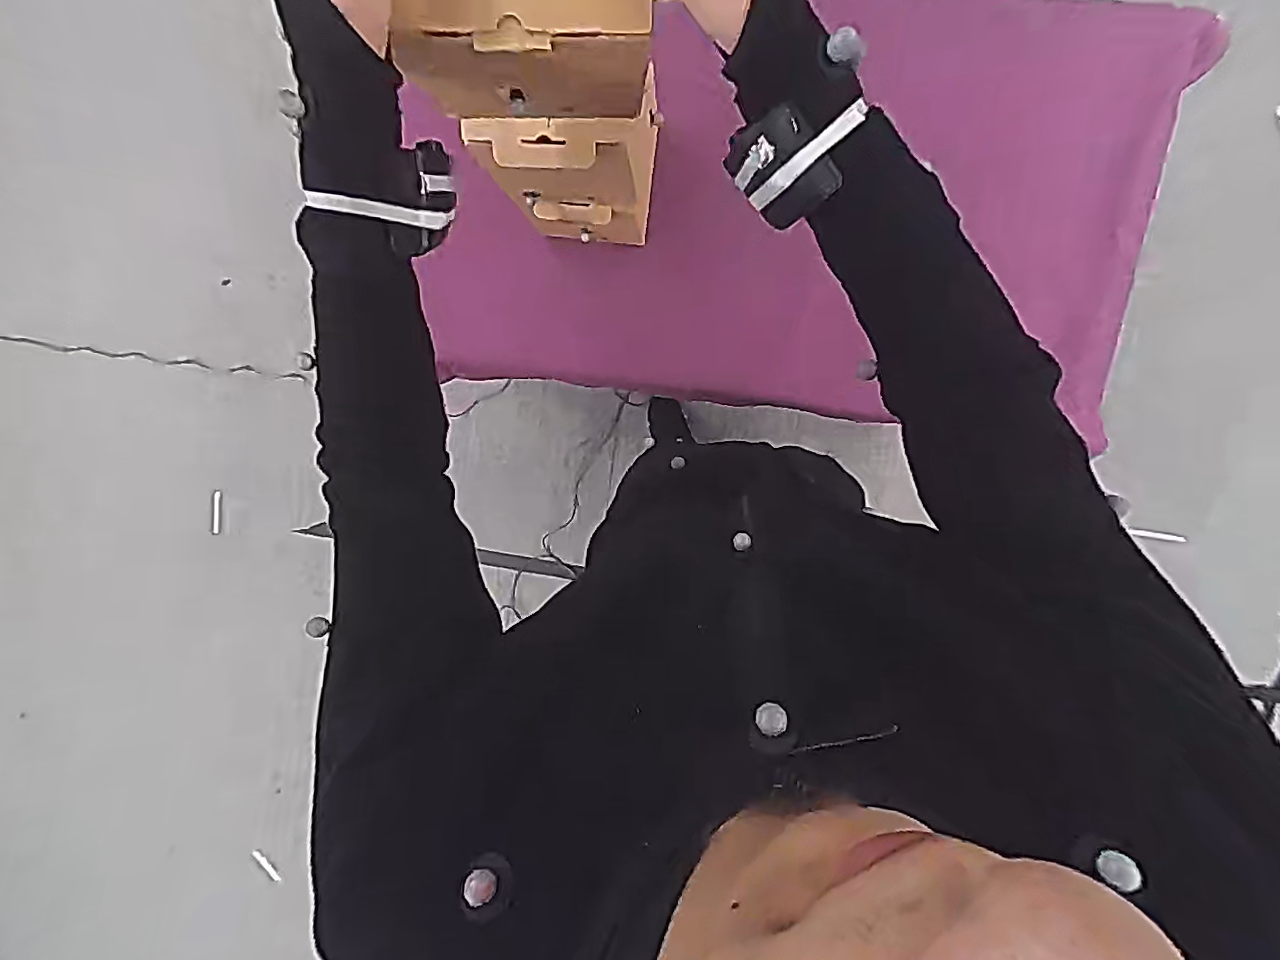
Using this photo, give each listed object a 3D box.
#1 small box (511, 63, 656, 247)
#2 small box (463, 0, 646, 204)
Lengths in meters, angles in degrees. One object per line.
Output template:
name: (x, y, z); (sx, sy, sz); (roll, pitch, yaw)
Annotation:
small box: (-0.069, -0.445, 0.754); (0.168, 0.176, 0.179); (8, 100, 3)
small box: (-0.082, -0.421, 0.592); (0.168, 0.176, 0.179); (3, 98, 3)
